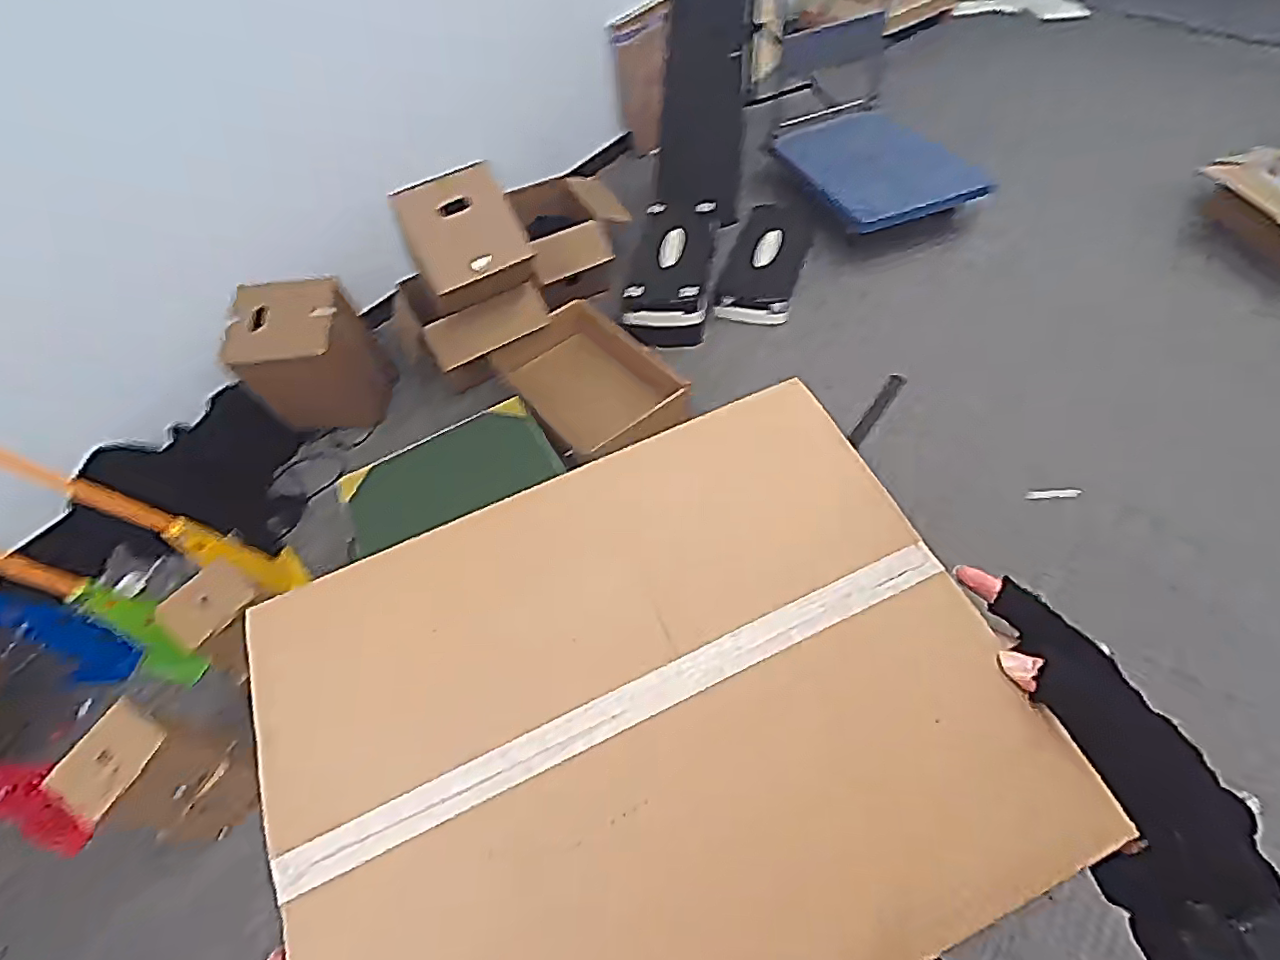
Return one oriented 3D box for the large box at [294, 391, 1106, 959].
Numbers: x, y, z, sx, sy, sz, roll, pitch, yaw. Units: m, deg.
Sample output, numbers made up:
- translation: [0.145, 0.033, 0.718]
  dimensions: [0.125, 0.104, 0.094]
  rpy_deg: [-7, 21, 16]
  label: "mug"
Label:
- translation: [0.016, 0.198, 0.454]
  dimensions: [0.408, 0.320, 0.320]
  rpy_deg: [-23, 65, -7]
  label: "large box"
